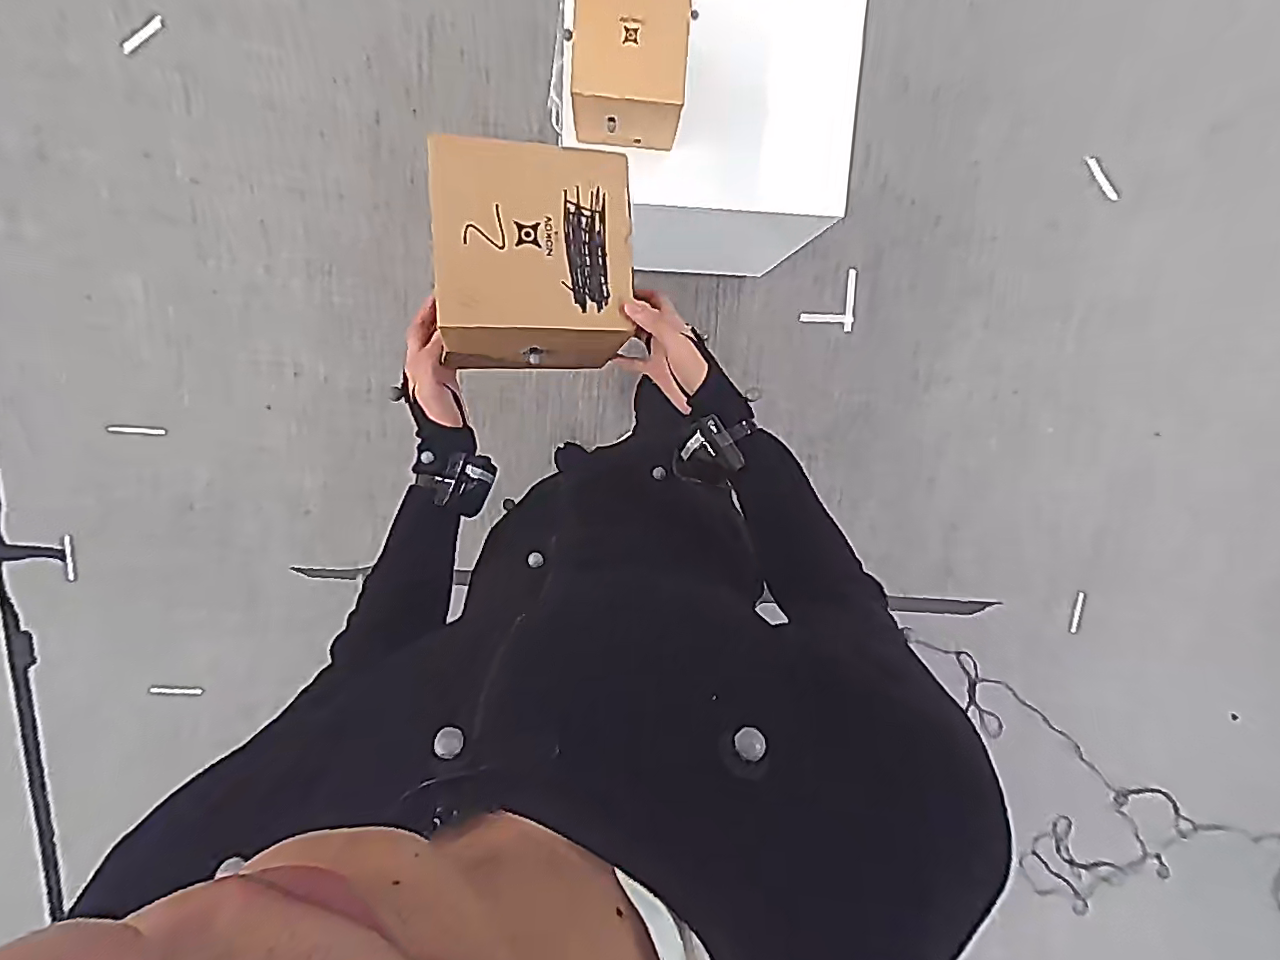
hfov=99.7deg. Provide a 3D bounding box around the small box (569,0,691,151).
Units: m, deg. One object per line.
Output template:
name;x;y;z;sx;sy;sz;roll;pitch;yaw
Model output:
small box;-0.017;-0.637;0.835;0.168;0.176;0.179;3;99;-4
